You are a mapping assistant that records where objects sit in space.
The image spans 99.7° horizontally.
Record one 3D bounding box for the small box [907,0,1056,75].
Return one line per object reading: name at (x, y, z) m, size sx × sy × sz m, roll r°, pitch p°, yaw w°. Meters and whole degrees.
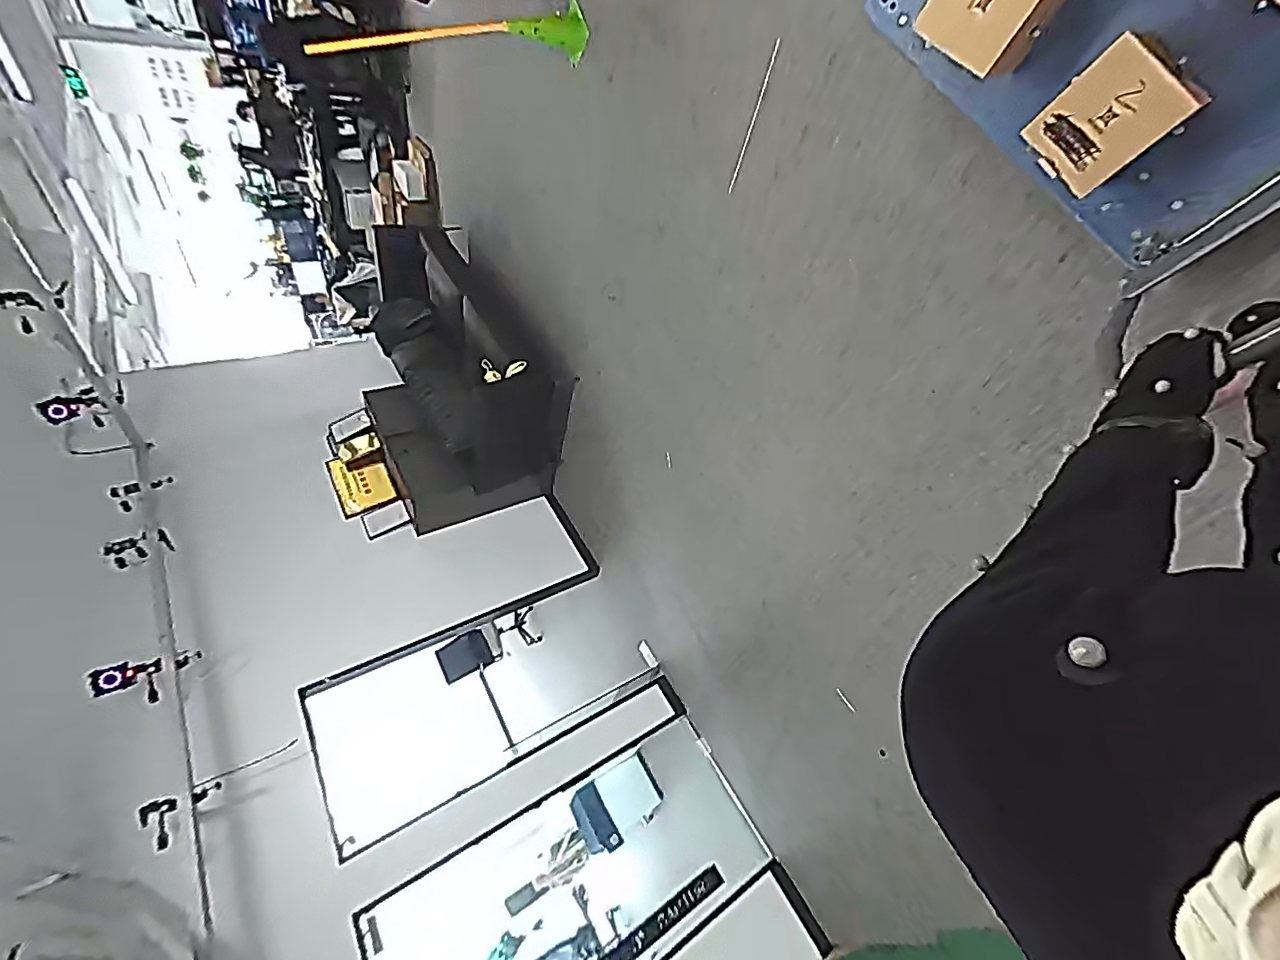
small box at (0.637, -0.876, 0.980) m, size 0.179 × 0.176 × 0.168 m, roll 47°, pitch 145°, yaw 13°
